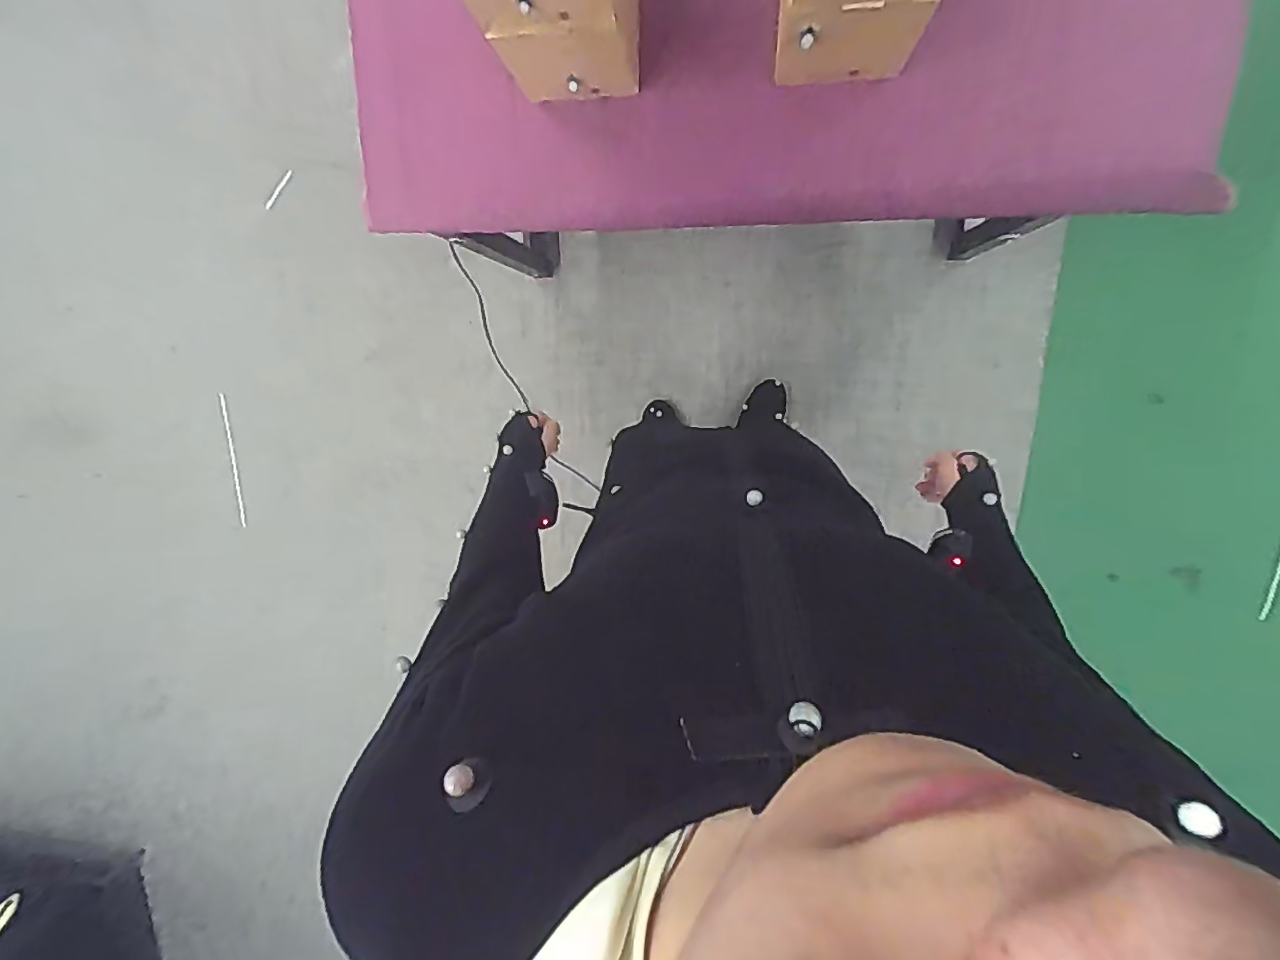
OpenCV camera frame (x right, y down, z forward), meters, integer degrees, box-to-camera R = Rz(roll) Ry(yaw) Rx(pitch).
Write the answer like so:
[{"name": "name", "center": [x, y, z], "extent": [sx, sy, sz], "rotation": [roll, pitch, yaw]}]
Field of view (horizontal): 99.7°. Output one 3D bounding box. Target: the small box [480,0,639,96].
[{"name": "small box", "center": [-0.096, -0.634, 0.696], "extent": [0.168, 0.176, 0.179], "rotation": [3, 103, 8]}]

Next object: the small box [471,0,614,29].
[{"name": "small box", "center": [-0.120, -0.603, 0.538], "extent": [0.168, 0.176, 0.179], "rotation": [1, 103, 8]}]
